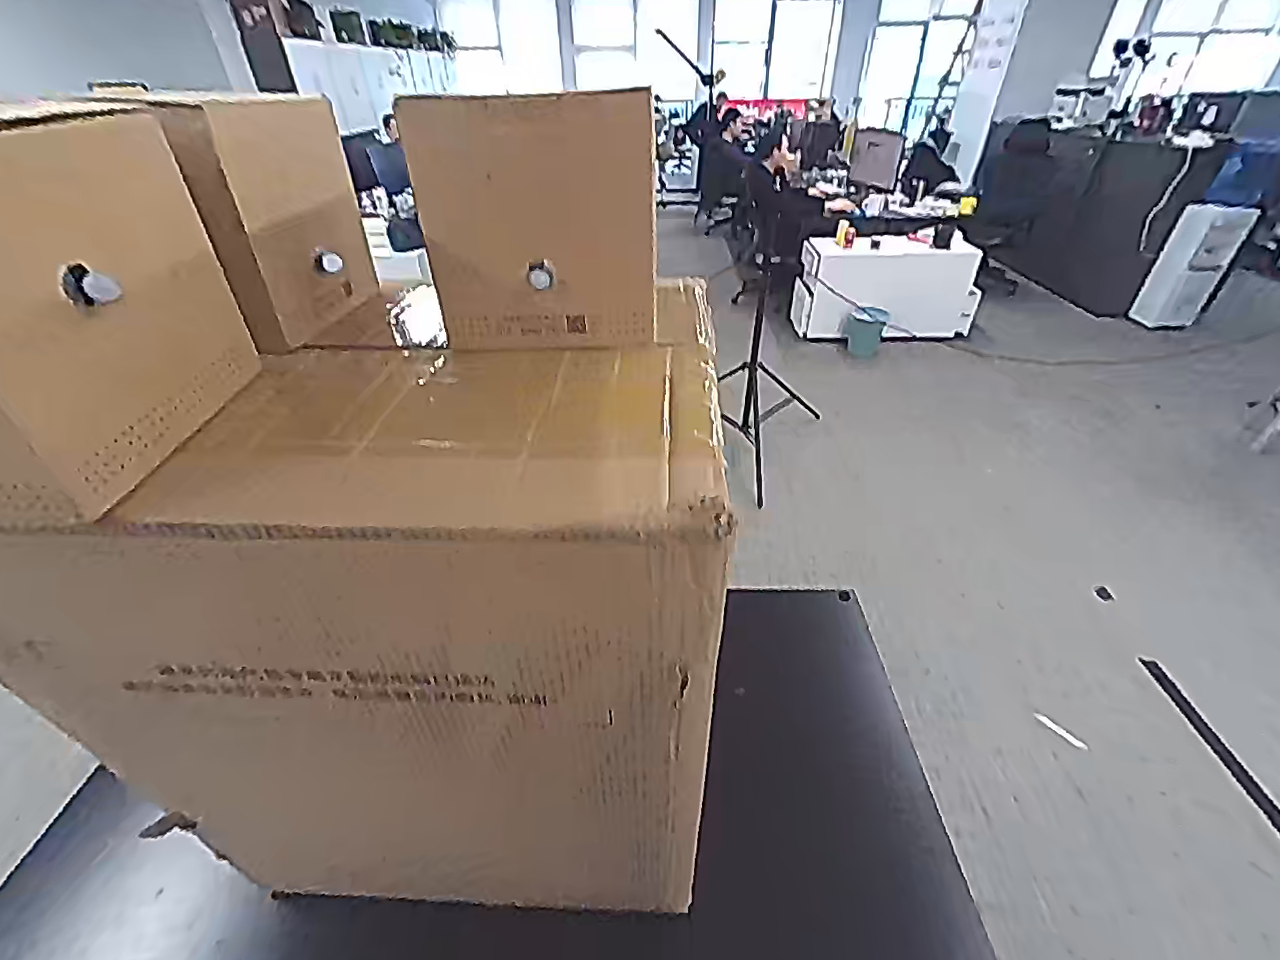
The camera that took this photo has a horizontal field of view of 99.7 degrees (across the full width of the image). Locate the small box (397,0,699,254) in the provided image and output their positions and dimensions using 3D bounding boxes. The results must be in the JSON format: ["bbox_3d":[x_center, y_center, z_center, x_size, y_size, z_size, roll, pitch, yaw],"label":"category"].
[{"bbox_3d":[-0.049,-0.262,0.371,0.168,0.176,0.179,-1,35,1],"label":"small box"}]

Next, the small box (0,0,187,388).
[{"bbox_3d":[-0.333,-0.133,0.206,0.168,0.176,0.179,0,40,-4],"label":"small box"}]

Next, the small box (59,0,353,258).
[{"bbox_3d":[-0.337,-0.257,0.369,0.179,0.176,0.168,3,36,2],"label":"small box"}]
